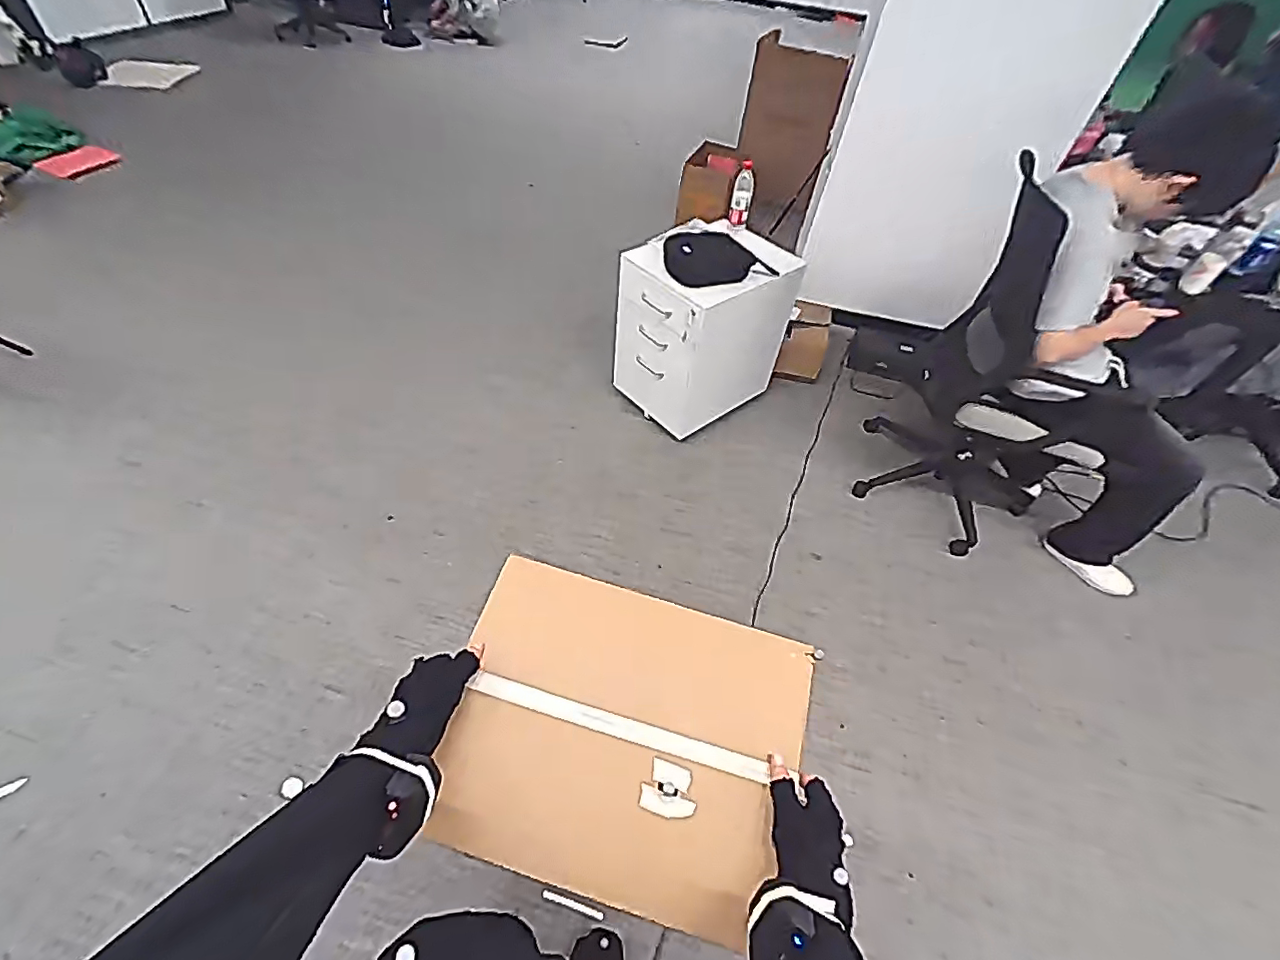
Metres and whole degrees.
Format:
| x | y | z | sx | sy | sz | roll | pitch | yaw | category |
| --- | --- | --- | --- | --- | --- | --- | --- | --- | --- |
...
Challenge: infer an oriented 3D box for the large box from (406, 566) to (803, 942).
| x | y | z | sx | sy | sz | roll | pitch | yaw | category |
| --- | --- | --- | --- | --- | --- | --- | --- | --- | --- |
| -0.033 | 0.365 | 0.756 | 0.408 | 0.320 | 0.320 | 16 | 59 | 4 | large box |
